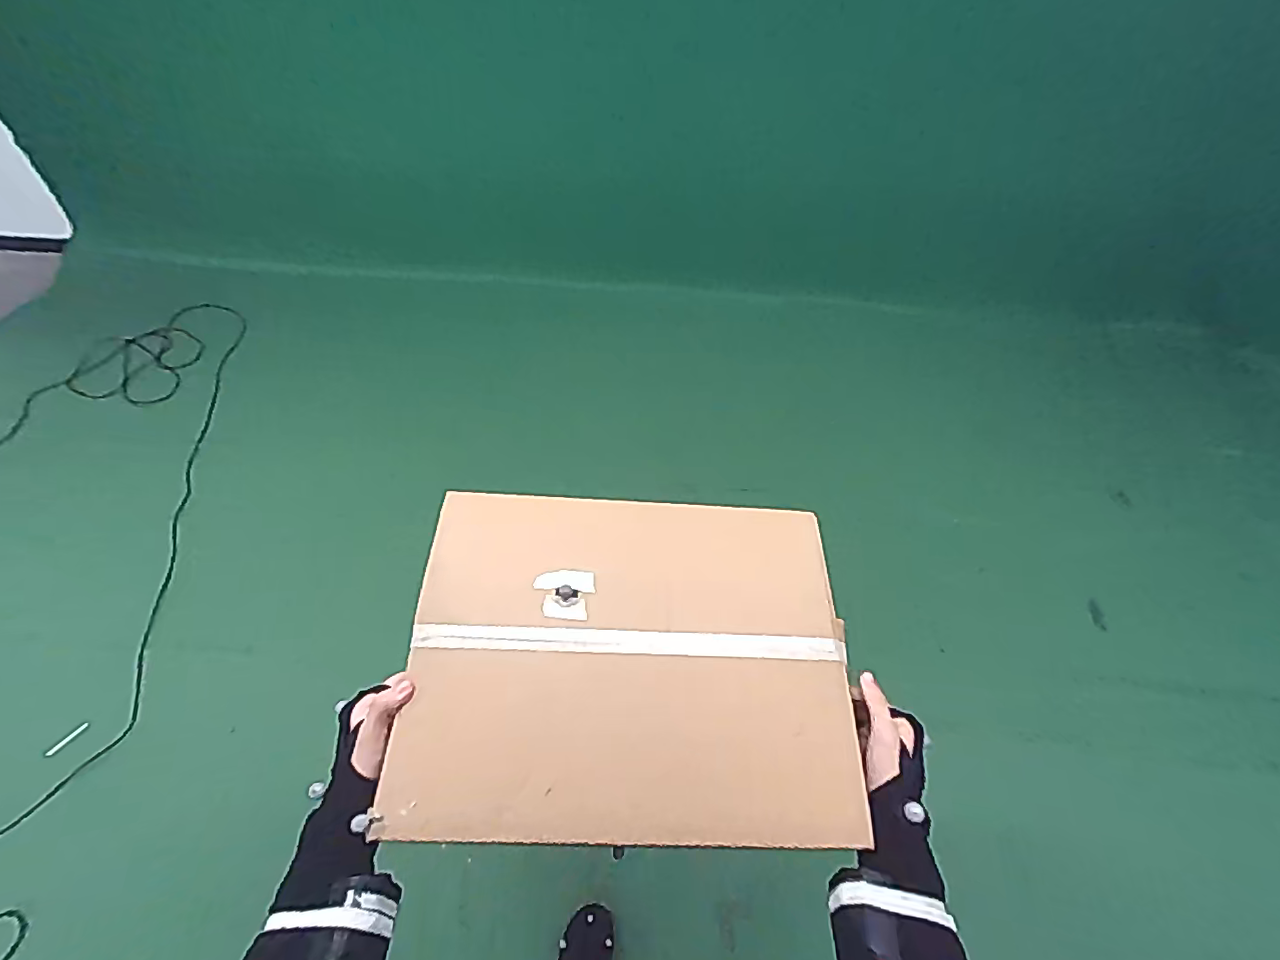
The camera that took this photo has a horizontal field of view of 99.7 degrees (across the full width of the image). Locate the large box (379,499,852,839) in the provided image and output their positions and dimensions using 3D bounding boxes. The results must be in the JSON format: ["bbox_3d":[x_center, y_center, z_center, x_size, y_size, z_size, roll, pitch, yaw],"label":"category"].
[{"bbox_3d":[-0.022,0.234,0.651,0.408,0.320,0.320,3,58,-3],"label":"large box"}]
